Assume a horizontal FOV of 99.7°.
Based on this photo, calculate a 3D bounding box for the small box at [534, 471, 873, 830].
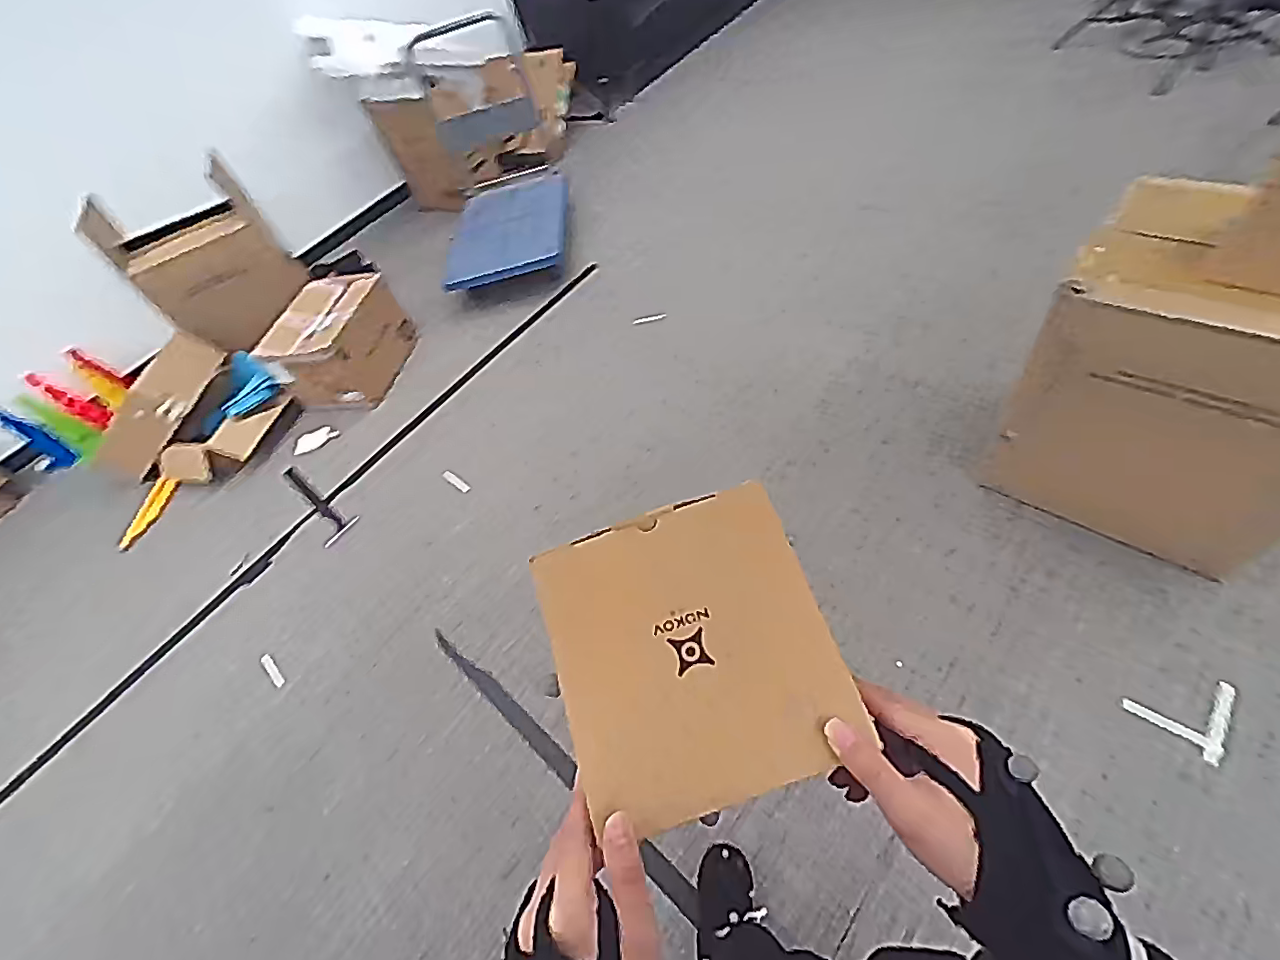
[{"bbox_3d":[0.039,0.124,0.403,0.168,0.176,0.179,-19,65,-2],"label":"small box"}]

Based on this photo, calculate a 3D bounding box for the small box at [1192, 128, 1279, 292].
[{"bbox_3d":[1.035,-0.417,0.845,0.179,0.176,0.168,31,69,32],"label":"small box"}]
